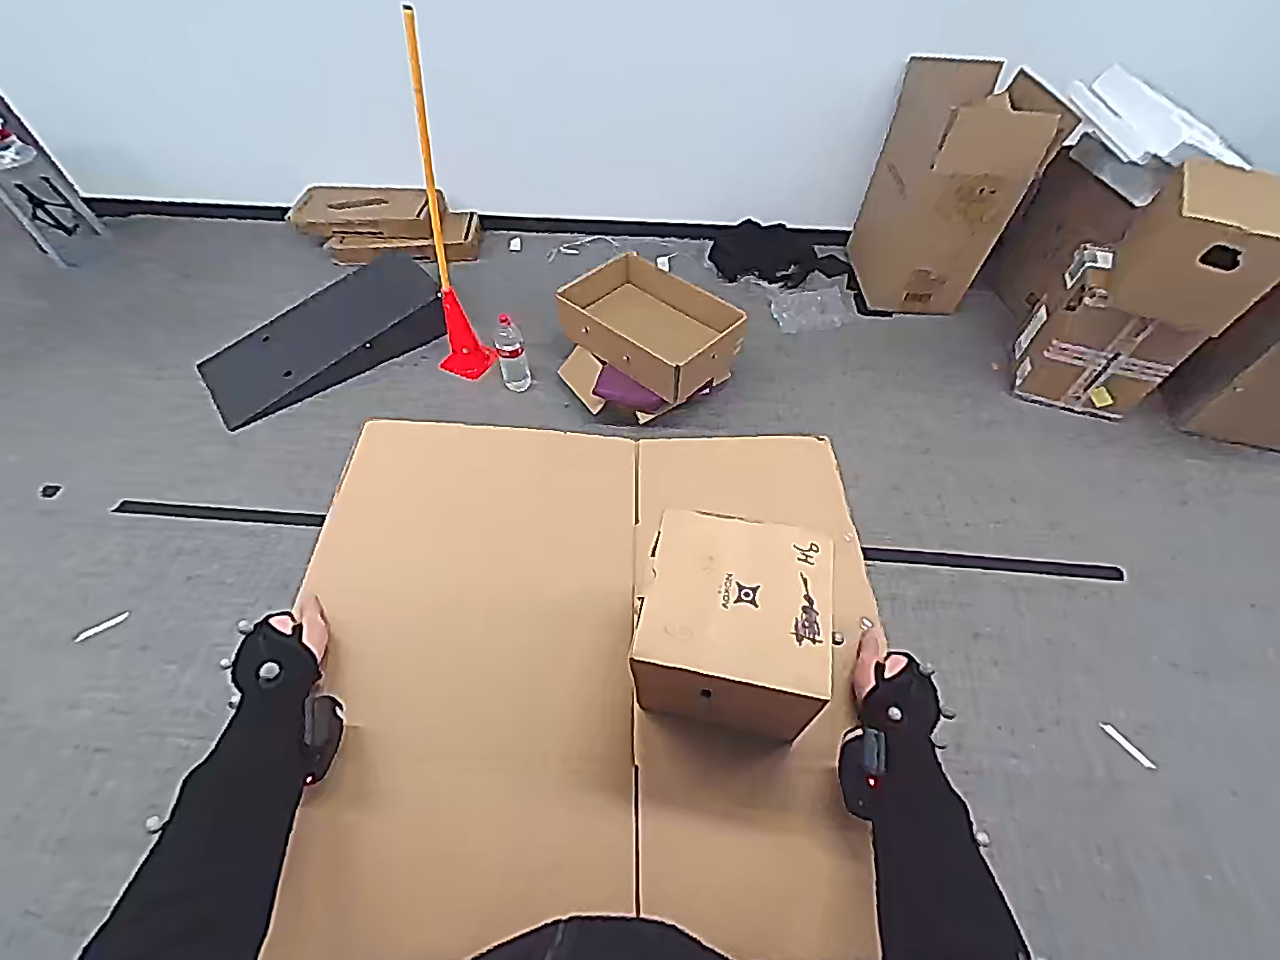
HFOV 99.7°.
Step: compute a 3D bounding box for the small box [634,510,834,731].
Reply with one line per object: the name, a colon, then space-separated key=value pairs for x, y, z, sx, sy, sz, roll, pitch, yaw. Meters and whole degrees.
small box: x=0.101 y=0.155 z=0.583 sx=0.179 sy=0.176 sz=0.168 roll=8 pitch=55 yaw=10
